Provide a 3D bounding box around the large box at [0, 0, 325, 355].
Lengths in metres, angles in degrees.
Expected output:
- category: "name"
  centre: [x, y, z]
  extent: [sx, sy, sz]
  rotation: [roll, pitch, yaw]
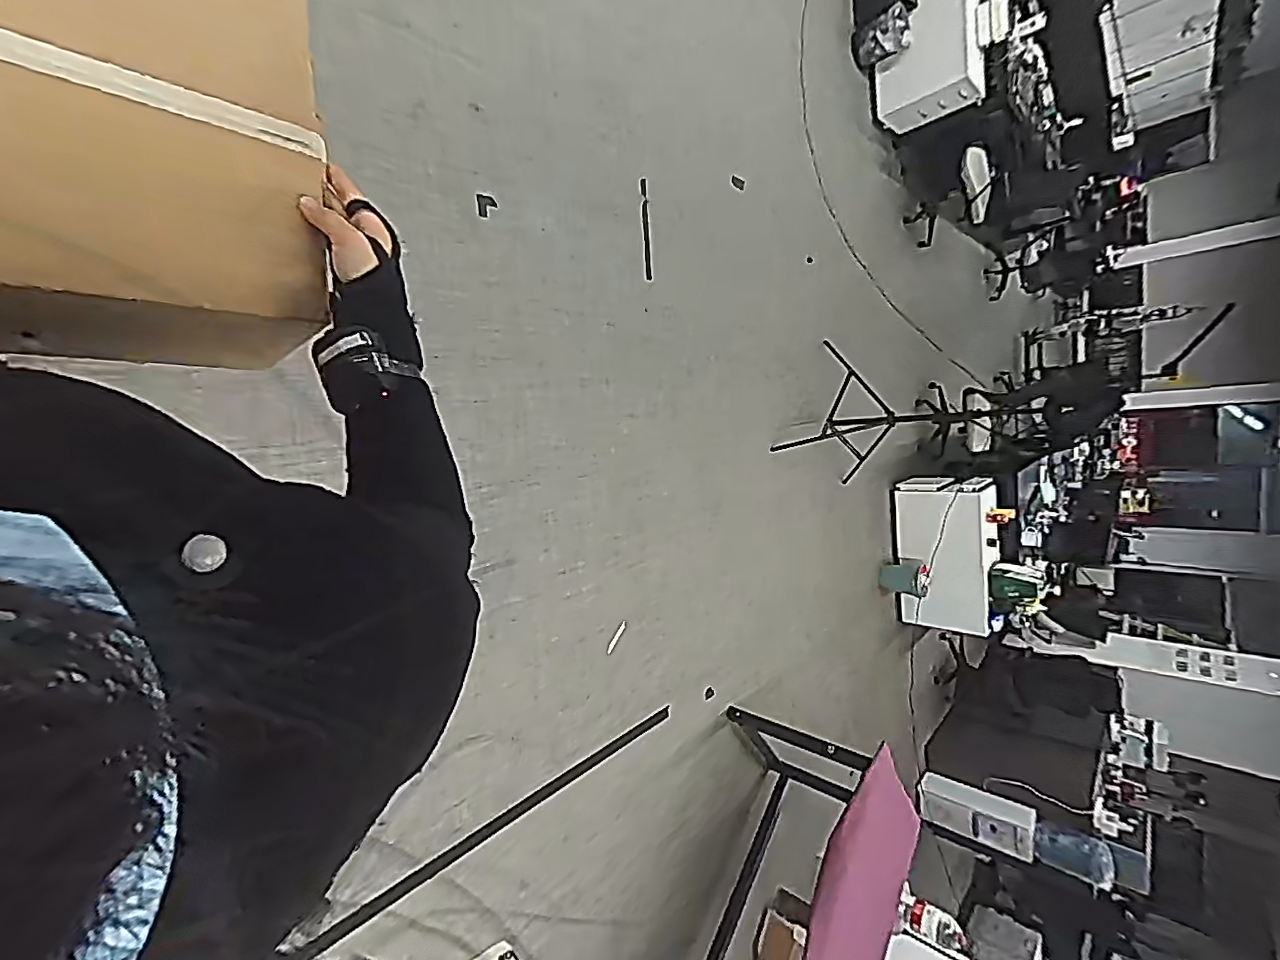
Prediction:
- category: "large box"
  centre: [-0.549, -0.296, 0.472]
  extent: [0.408, 0.320, 0.320]
  rotation: [-6, 93, -44]
